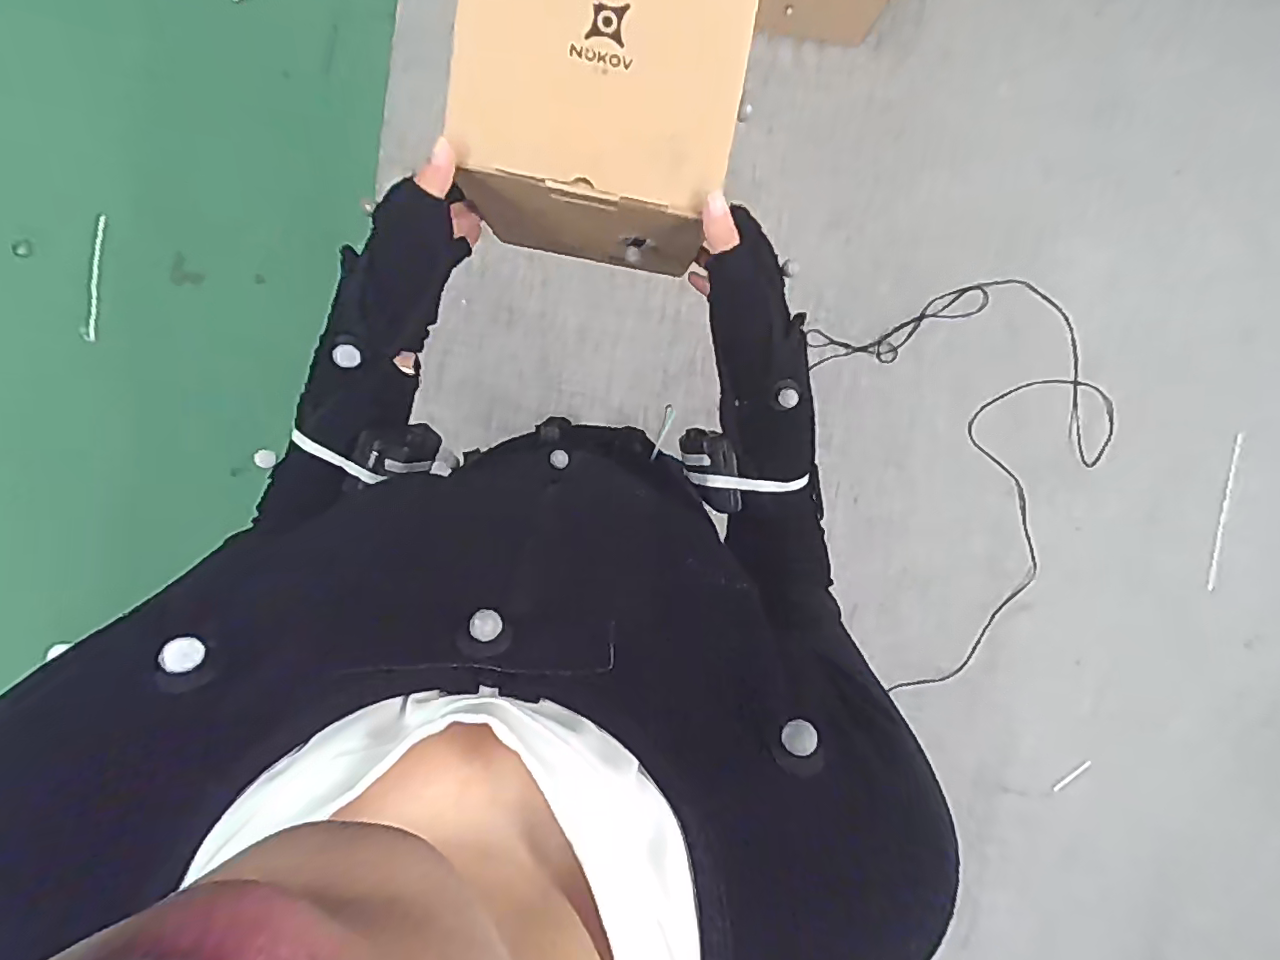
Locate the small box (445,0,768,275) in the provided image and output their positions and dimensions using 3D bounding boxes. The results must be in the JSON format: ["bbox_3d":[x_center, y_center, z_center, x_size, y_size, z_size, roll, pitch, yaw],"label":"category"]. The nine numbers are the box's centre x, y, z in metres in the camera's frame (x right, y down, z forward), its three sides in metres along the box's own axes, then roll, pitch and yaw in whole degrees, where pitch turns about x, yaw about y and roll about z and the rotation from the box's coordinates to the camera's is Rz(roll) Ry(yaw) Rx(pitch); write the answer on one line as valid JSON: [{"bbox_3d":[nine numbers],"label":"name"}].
[{"bbox_3d":[-0.020,-0.261,0.381,0.168,0.176,0.179,11,98,-6],"label":"small box"}]
